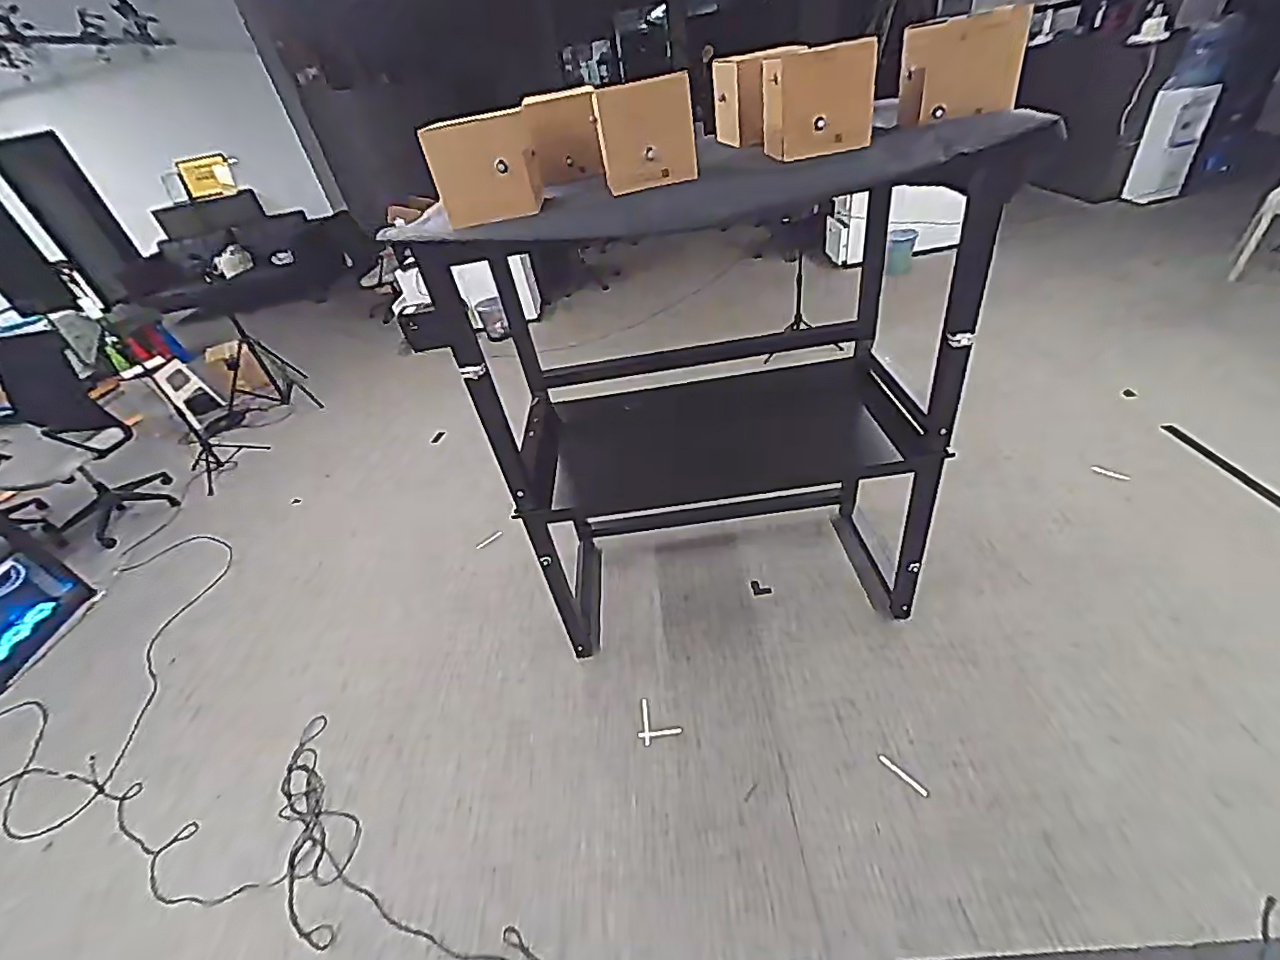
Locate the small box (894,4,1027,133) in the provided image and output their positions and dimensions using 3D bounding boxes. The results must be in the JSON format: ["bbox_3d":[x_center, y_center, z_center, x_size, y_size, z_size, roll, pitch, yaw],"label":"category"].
[{"bbox_3d":[0.604,-0.784,1.044,0.168,0.176,0.179,-3,37,11],"label":"small box"}]

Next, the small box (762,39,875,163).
[{"bbox_3d":[0.333,-0.728,1.047,0.168,0.176,0.179,-9,37,4],"label":"small box"}]

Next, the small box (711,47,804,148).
[{"bbox_3d":[0.274,-0.903,1.284,0.168,0.176,0.179,-15,38,-3],"label":"small box"}]

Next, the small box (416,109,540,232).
[{"bbox_3d":[-0.300,-0.600,1.049,0.179,0.176,0.168,-9,38,2],"label":"small box"}]

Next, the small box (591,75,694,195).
[{"bbox_3d":[0.003,-0.664,1.049,0.168,0.176,0.179,-12,35,0],"label":"small box"}]
